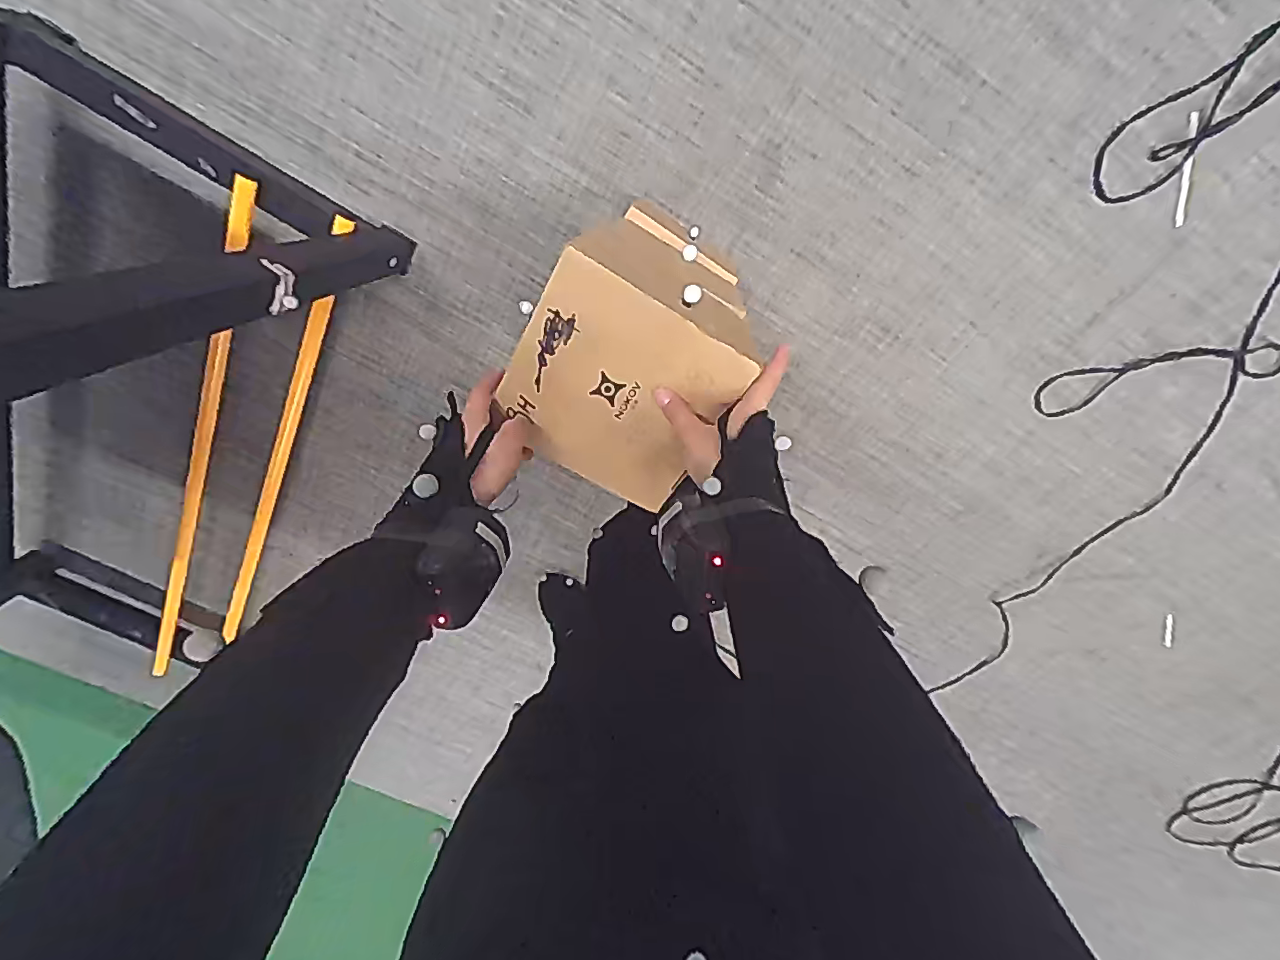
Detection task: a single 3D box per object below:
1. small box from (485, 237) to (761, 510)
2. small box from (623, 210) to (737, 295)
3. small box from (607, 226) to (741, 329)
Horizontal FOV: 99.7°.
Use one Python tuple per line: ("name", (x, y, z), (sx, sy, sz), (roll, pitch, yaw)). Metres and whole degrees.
("small box", (-0.013, -0.109, 0.512), (0.179, 0.176, 0.168), (29, 116, -12))
("small box", (0.019, -0.273, 0.795), (0.168, 0.176, 0.179), (31, 116, -11))
("small box", (0.004, -0.183, 0.659), (0.168, 0.176, 0.179), (28, 117, -10))
